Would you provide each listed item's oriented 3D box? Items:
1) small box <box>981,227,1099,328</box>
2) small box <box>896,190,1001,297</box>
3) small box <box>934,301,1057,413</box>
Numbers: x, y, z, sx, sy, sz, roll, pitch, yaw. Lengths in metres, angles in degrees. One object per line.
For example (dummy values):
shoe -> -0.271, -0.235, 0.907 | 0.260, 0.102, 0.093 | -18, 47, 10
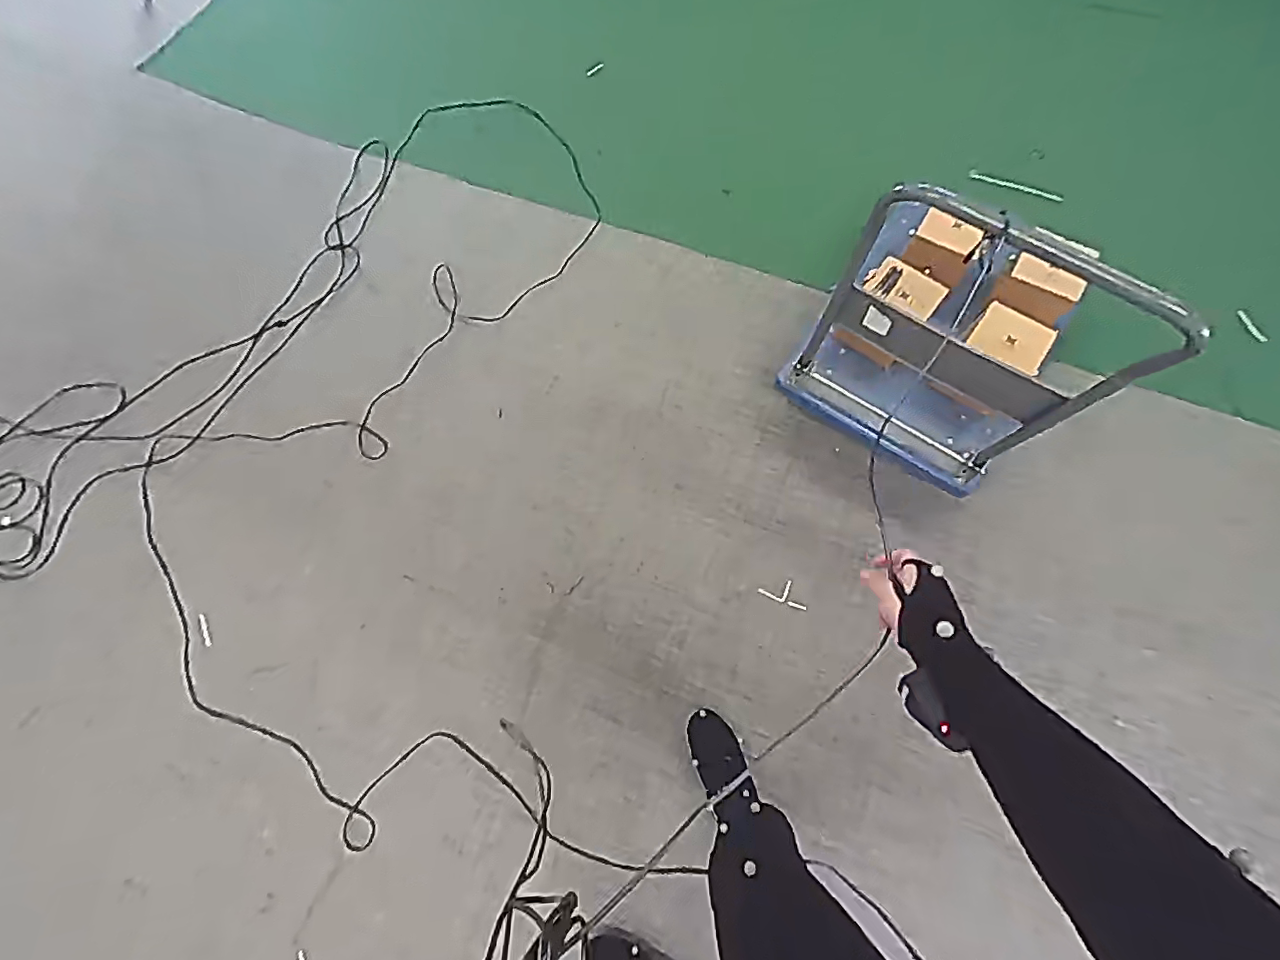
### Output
small box -> 1.042, -0.515, 1.424 | 0.168, 0.176, 0.179 | 30, 76, 13
small box -> 0.828, -0.638, 1.474 | 0.168, 0.176, 0.179 | 30, 75, 11
small box -> 0.884, -0.304, 1.362 | 0.168, 0.176, 0.179 | 35, 77, 13
